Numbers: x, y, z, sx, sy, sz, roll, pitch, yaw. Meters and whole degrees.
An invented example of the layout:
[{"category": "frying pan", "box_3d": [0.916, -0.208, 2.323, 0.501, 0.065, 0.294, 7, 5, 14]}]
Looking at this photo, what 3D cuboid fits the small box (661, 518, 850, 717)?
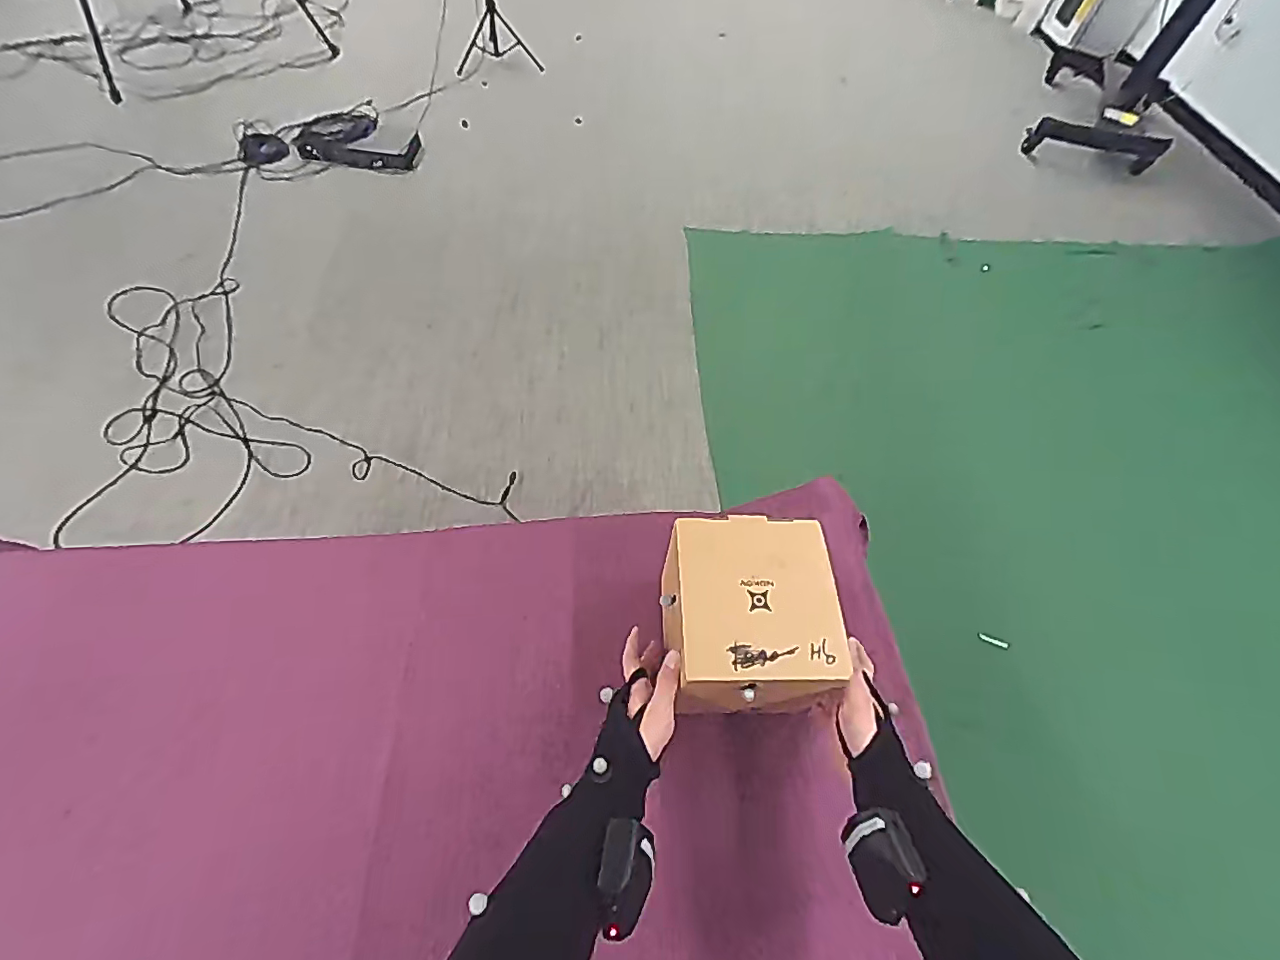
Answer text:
[{"category": "small box", "box_3d": [0.113, 0.161, 0.619, 0.168, 0.176, 0.179, 1, 56, -2]}]
